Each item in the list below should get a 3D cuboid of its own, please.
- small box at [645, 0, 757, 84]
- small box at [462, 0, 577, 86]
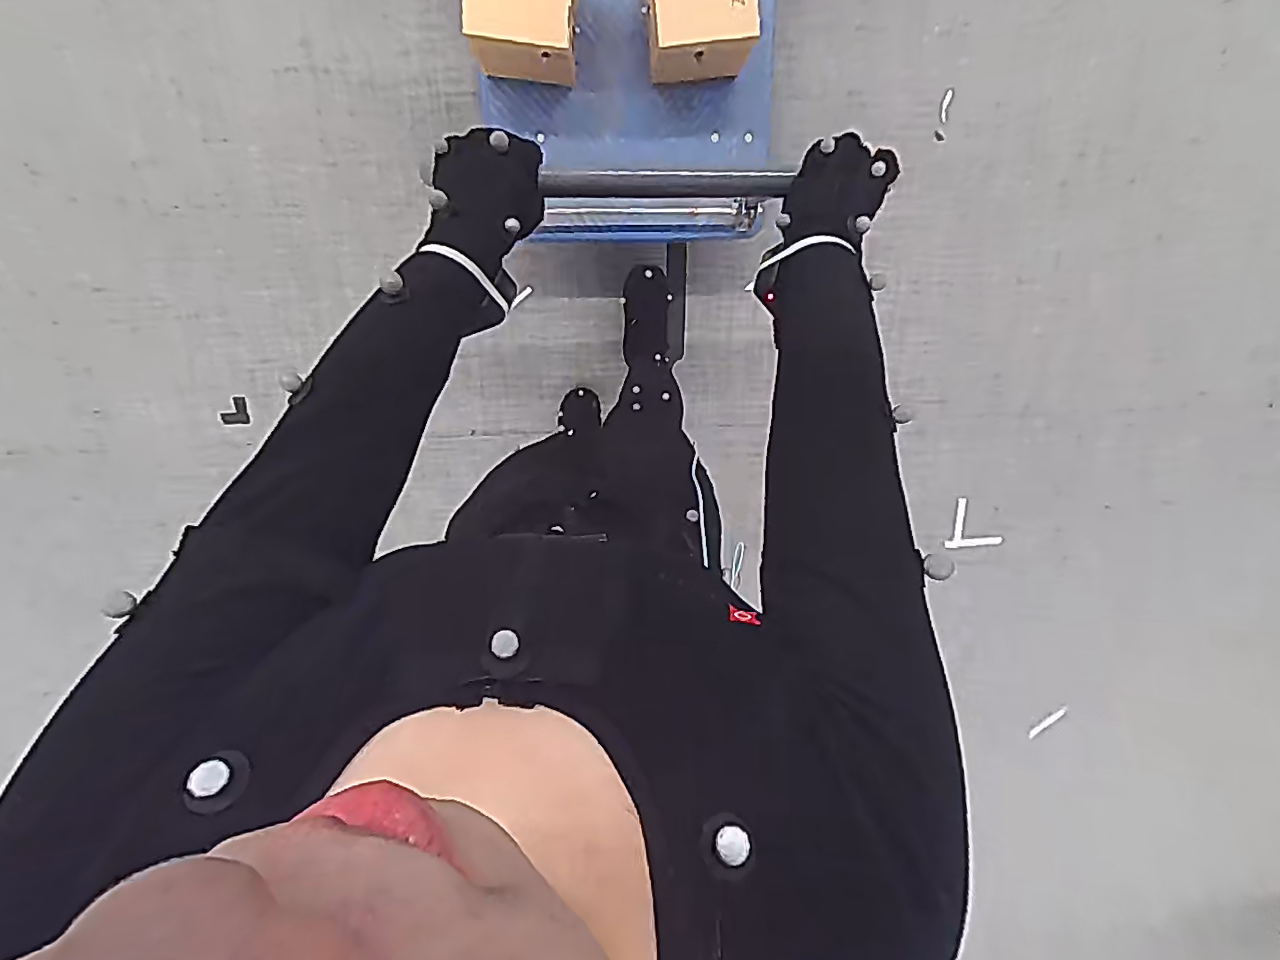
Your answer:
[{"bbox_3d":[0.101,-0.837,0.966,0.179,0.176,0.168,-7,109,-1],"label":"small box"},{"bbox_3d":[-0.205,-0.825,0.950,0.179,0.176,0.168,3,108,-6],"label":"small box"}]
